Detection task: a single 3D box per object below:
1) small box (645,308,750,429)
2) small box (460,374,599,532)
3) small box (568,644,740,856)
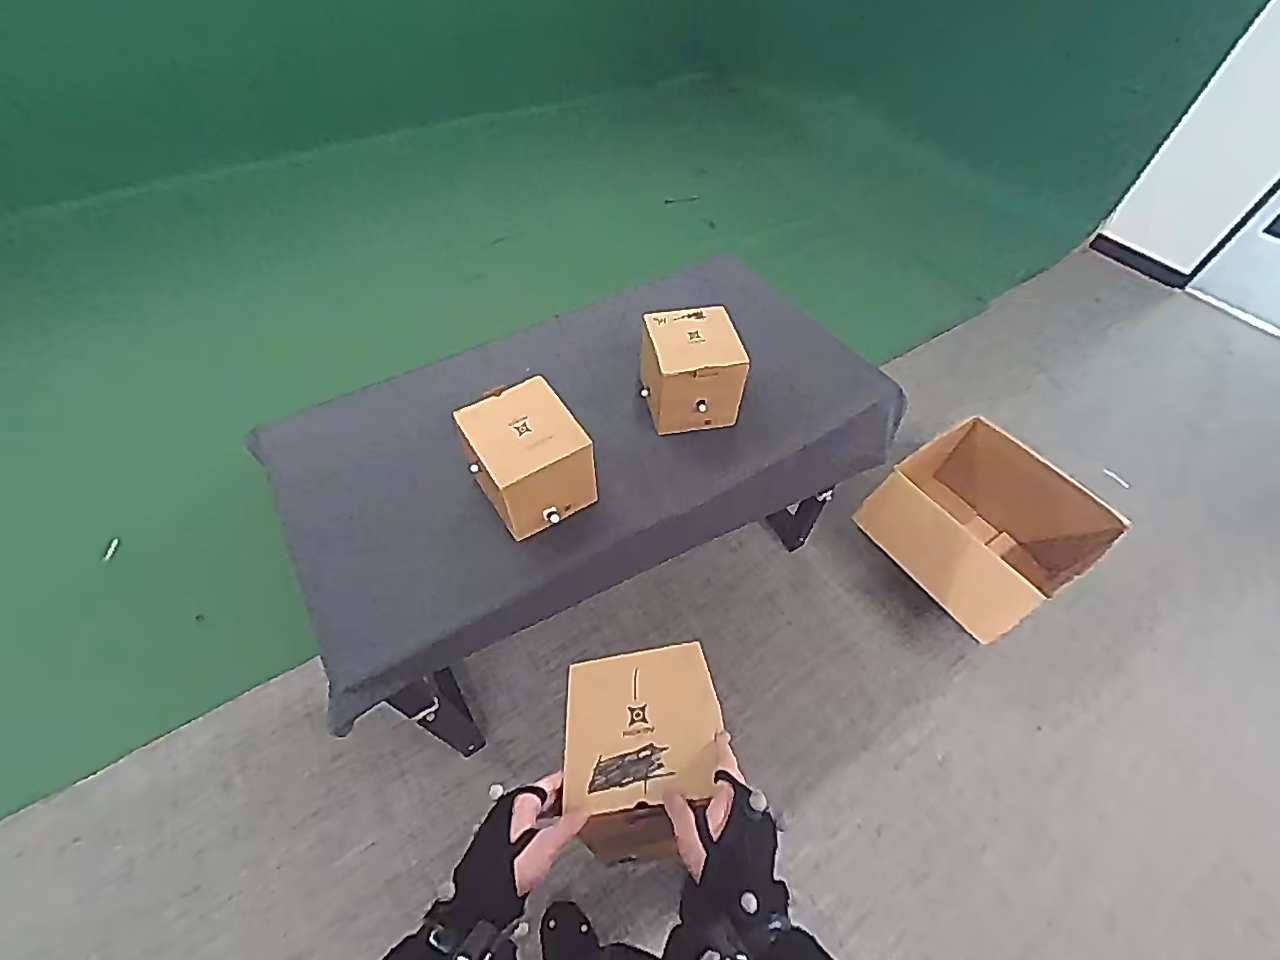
[{"bbox_3d":[0.106,-0.217,1.086,0.168,0.176,0.179,-8,55,-8],"label":"small box"},{"bbox_3d":[-0.184,-0.044,0.931,0.168,0.176,0.179,-29,60,-21],"label":"small box"},{"bbox_3d":[0.020,0.329,0.652,0.168,0.176,0.179,-11,39,6],"label":"small box"}]
